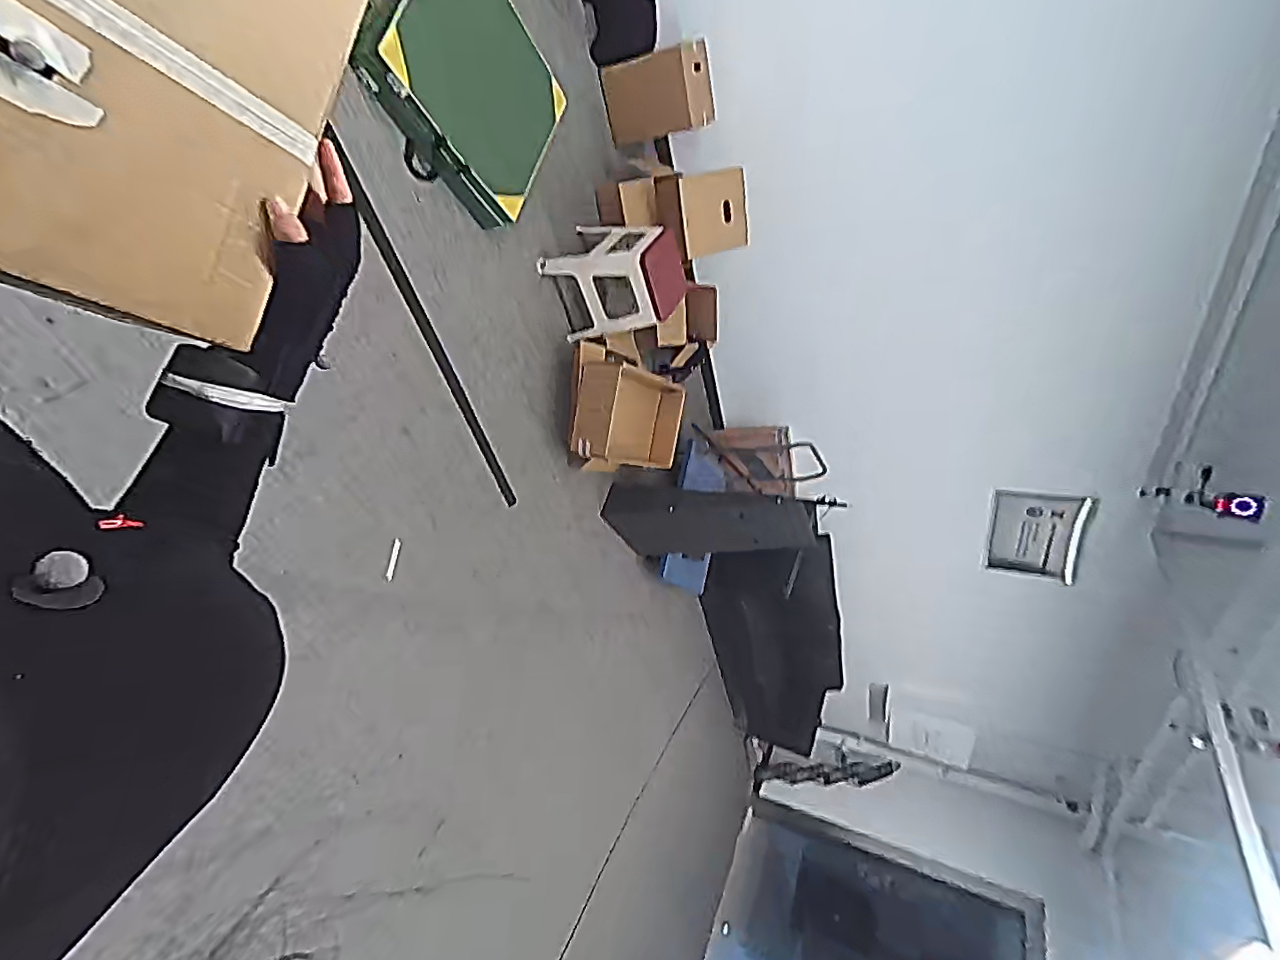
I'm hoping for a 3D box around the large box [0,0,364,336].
[{"bbox_3d":[-0.477,-0.323,0.339,0.408,0.320,0.320,20,88,-55],"label":"large box"}]
